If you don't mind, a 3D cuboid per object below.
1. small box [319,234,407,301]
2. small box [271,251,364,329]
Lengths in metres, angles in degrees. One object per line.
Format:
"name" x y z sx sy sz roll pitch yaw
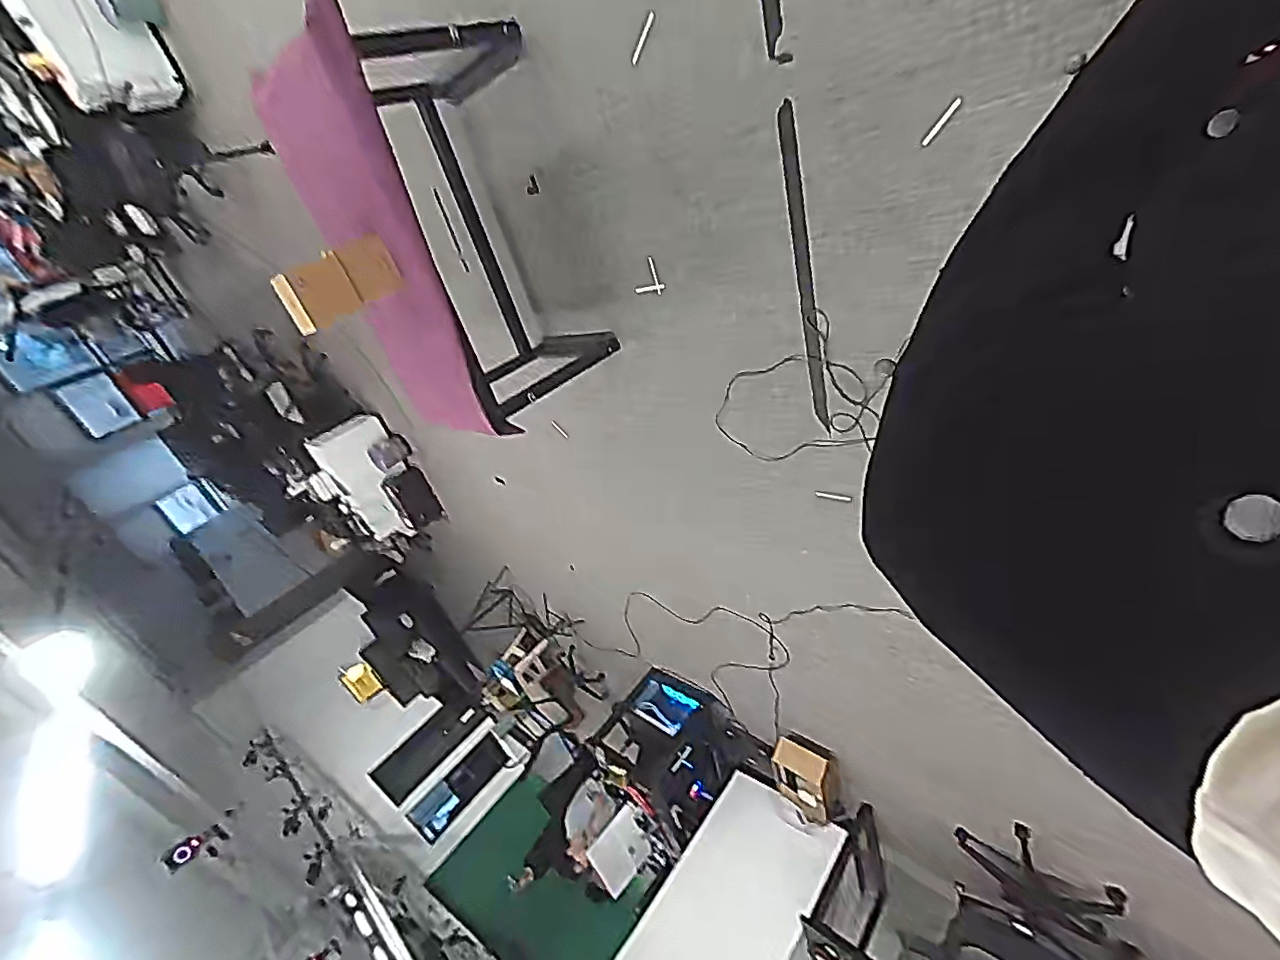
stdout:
"small box" -0.905 -0.693 1.772 0.168 0.176 0.179 10 129 46
"small box" -0.997 -0.589 1.683 0.168 0.176 0.179 10 129 45
